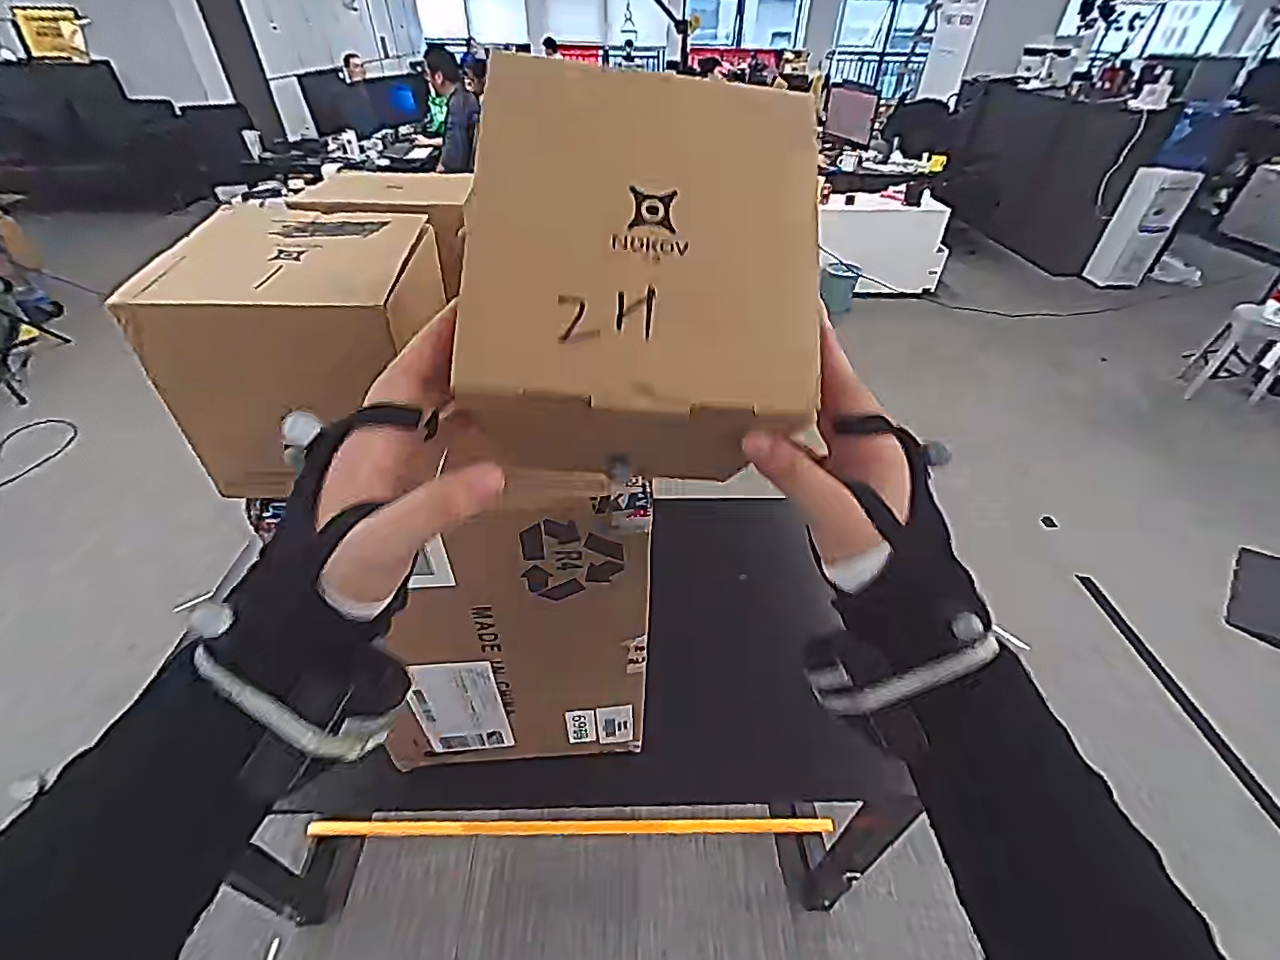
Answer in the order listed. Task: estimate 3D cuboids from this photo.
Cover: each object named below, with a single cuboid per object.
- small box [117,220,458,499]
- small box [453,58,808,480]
[{"bbox_3d":[-0.258,-0.102,0.457,0.168,0.176,0.179,-2,42,-7],"label":"small box"},{"bbox_3d":[-0.006,-0.108,0.342,0.168,0.176,0.179,4,77,-5],"label":"small box"}]
